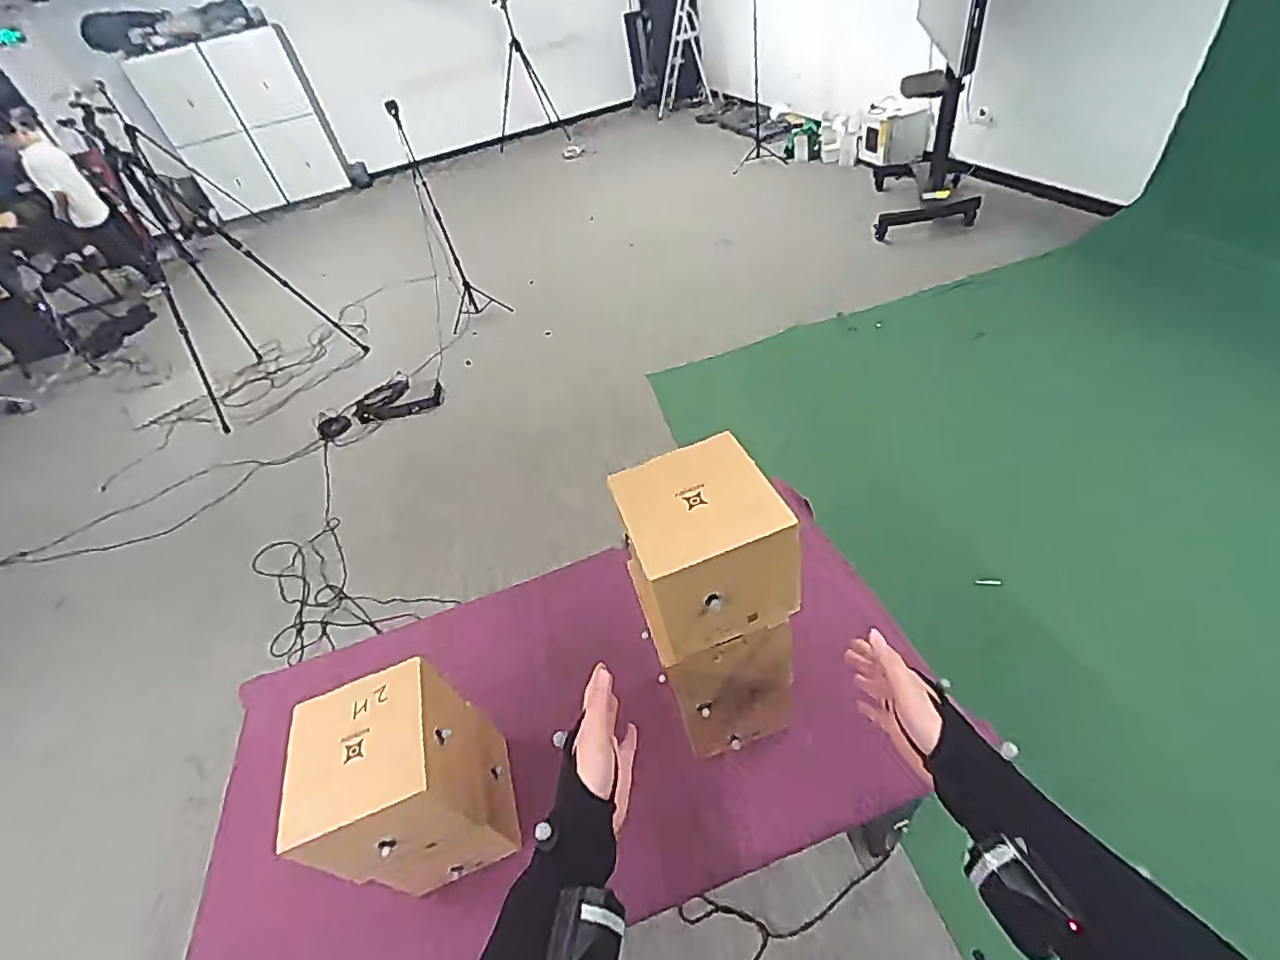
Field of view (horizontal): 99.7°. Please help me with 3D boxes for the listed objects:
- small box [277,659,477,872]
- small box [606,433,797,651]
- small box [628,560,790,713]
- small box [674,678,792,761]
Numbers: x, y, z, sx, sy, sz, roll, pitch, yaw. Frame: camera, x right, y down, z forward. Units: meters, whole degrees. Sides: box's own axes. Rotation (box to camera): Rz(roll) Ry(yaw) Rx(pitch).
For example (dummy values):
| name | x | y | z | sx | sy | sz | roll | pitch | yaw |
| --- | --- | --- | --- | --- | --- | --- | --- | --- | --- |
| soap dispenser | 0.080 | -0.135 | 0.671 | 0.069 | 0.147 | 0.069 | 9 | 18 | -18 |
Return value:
| name | x | y | z | sx | sy | sz | roll | pitch | yaw |
| --- | --- | --- | --- | --- | --- | --- | --- | --- | --- |
| small box | -0.320 | 0.369 | 0.692 | 0.168 | 0.176 | 0.179 | -20 | 44 | -7 |
| small box | 0.076 | 0.079 | 0.649 | 0.168 | 0.176 | 0.179 | -21 | 41 | -4 |
| small box | 0.098 | 0.200 | 0.756 | 0.168 | 0.176 | 0.179 | -20 | 41 | -3 |
| small box | 0.130 | 0.314 | 0.869 | 0.168 | 0.176 | 0.179 | -19 | 43 | -3 |
